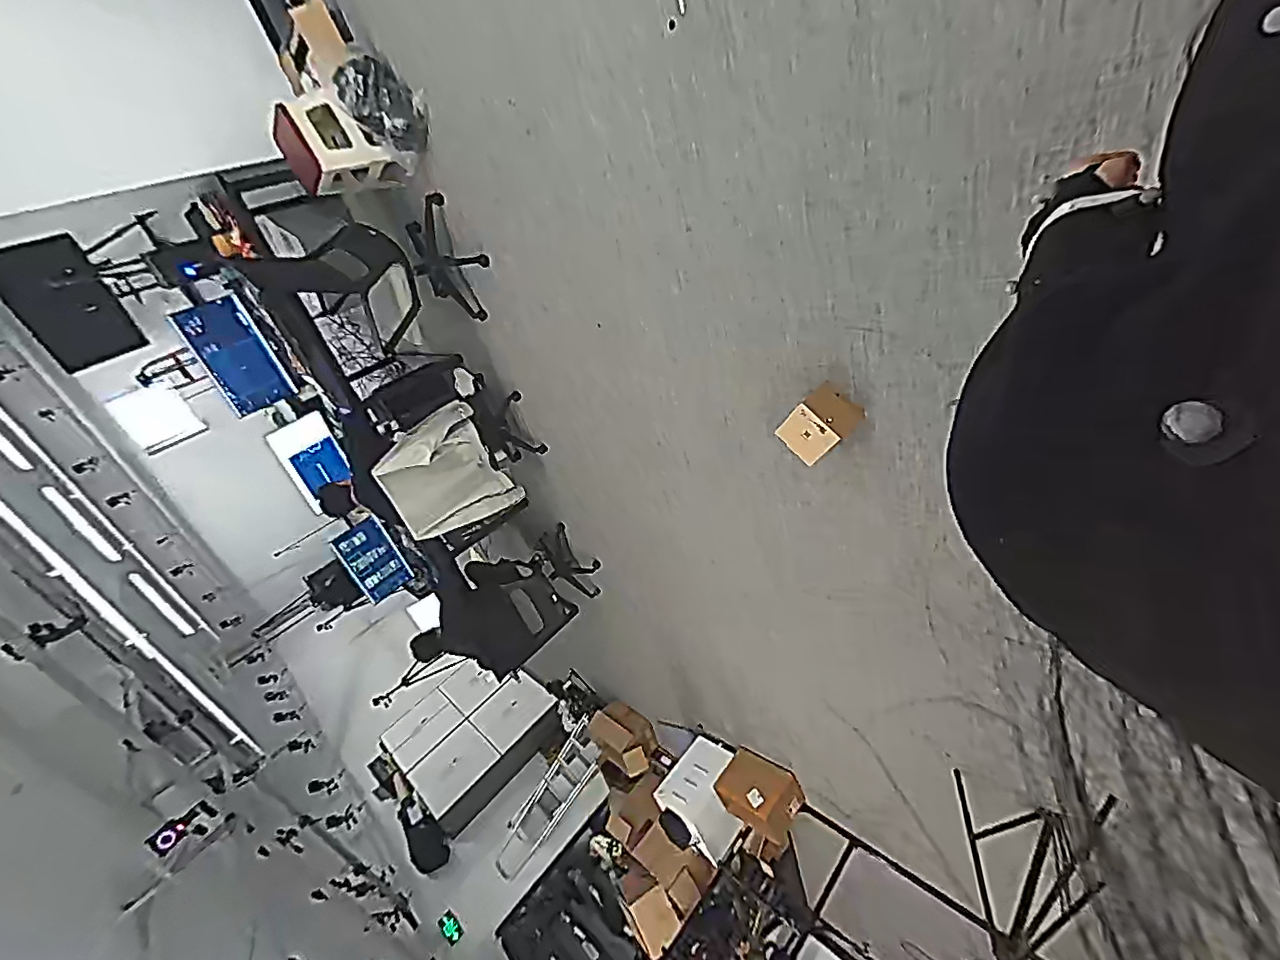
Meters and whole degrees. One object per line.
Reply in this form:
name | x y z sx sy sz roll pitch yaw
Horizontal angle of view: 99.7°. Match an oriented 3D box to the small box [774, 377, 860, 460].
small box | 0.582 -0.202 1.769 0.168 0.176 0.179 46 149 9
